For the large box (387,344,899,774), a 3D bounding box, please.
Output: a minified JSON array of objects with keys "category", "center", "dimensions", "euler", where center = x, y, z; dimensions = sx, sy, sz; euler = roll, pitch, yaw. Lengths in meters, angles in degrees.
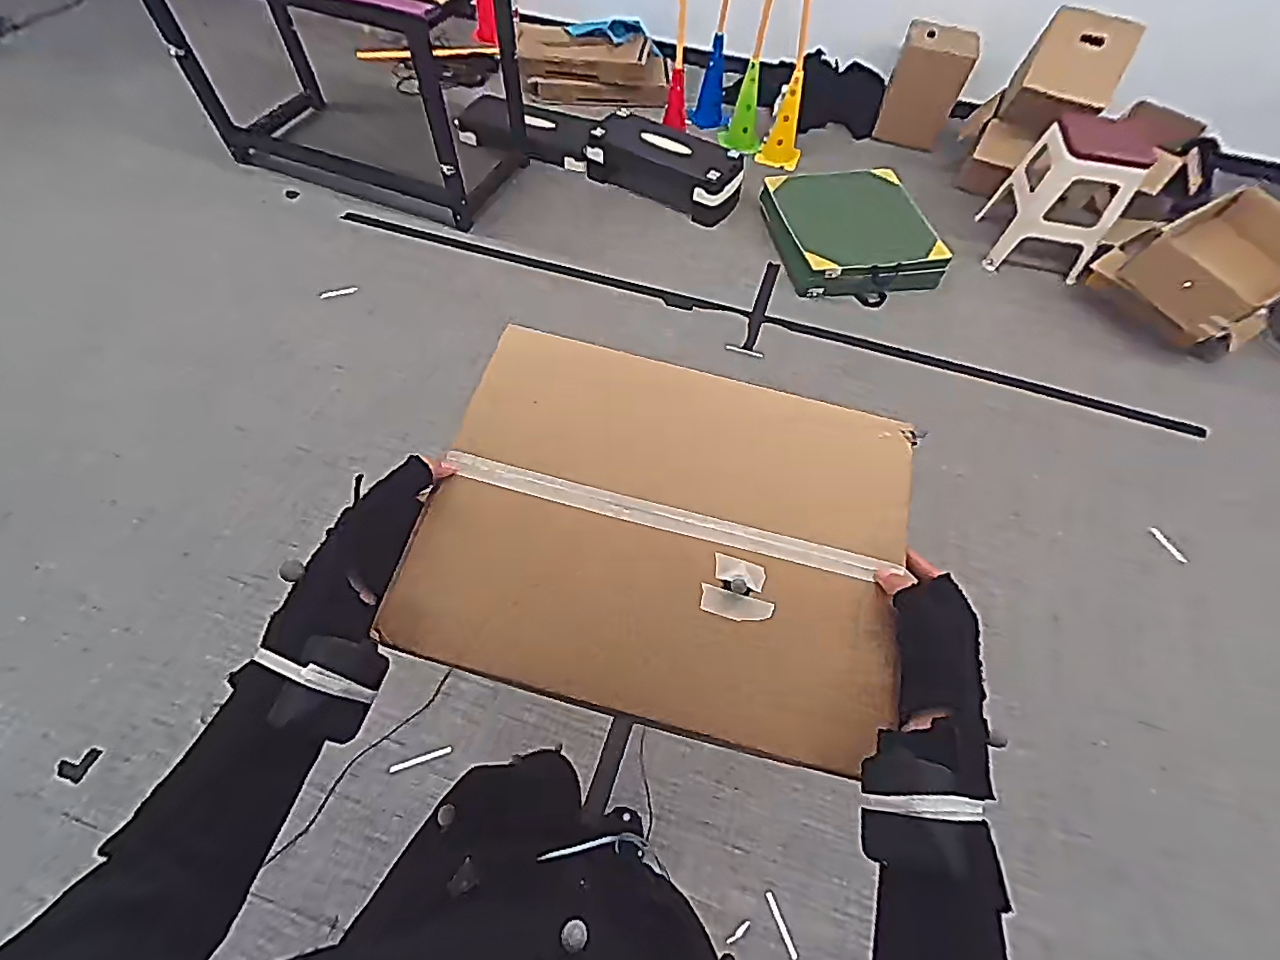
[{"category":"large box","center":[0.014,0.102,0.610],"dimensions":[0.408,0.320,0.320],"euler":[15,67,2]}]
